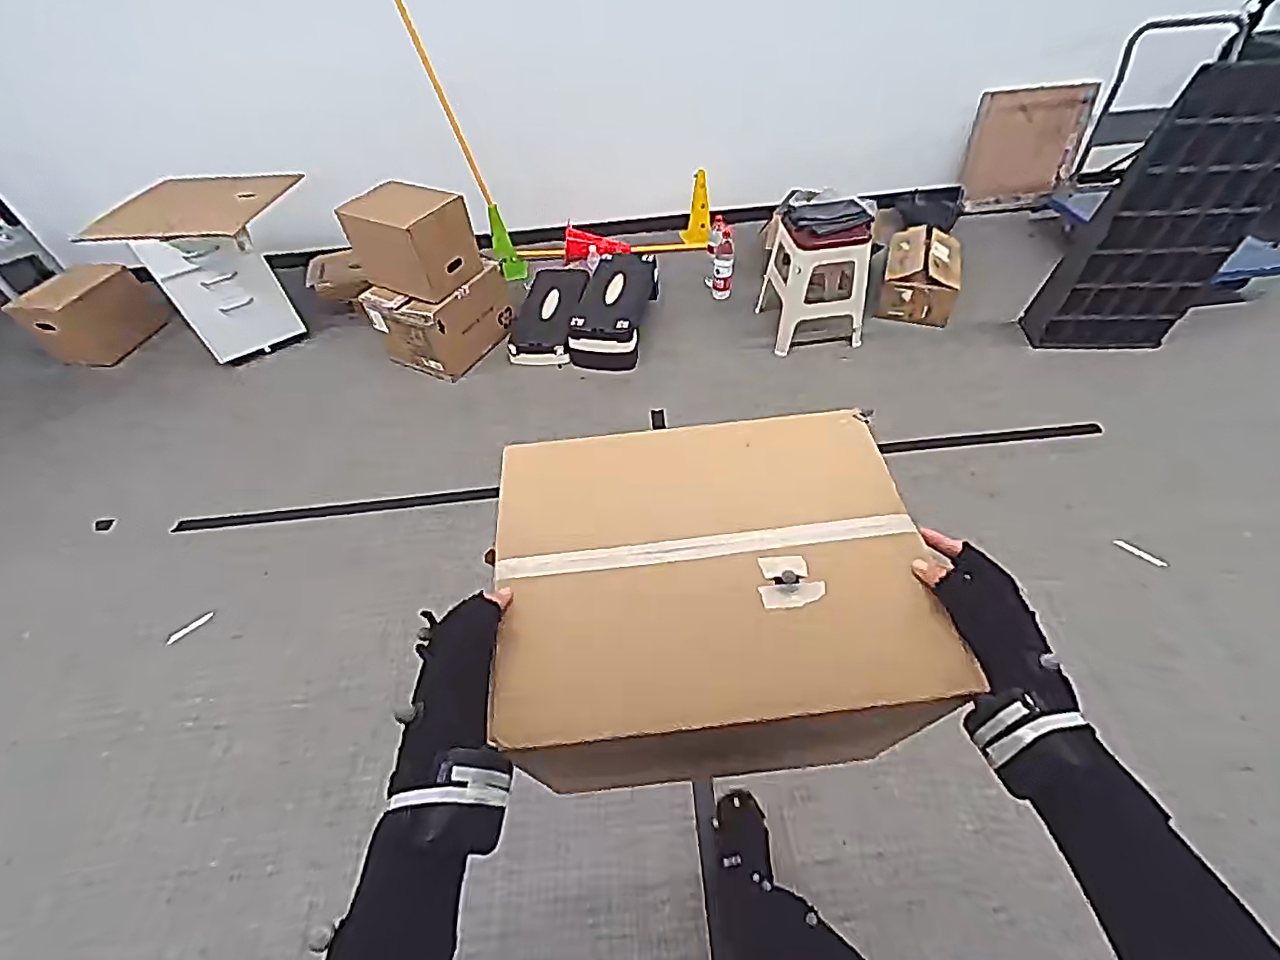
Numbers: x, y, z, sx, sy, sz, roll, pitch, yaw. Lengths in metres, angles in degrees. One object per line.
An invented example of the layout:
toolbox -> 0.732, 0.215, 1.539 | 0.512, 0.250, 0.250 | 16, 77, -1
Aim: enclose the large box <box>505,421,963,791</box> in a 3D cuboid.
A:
large box -> 0.070, 0.163, 0.661 | 0.408, 0.320, 0.320 | -6, 55, -2
